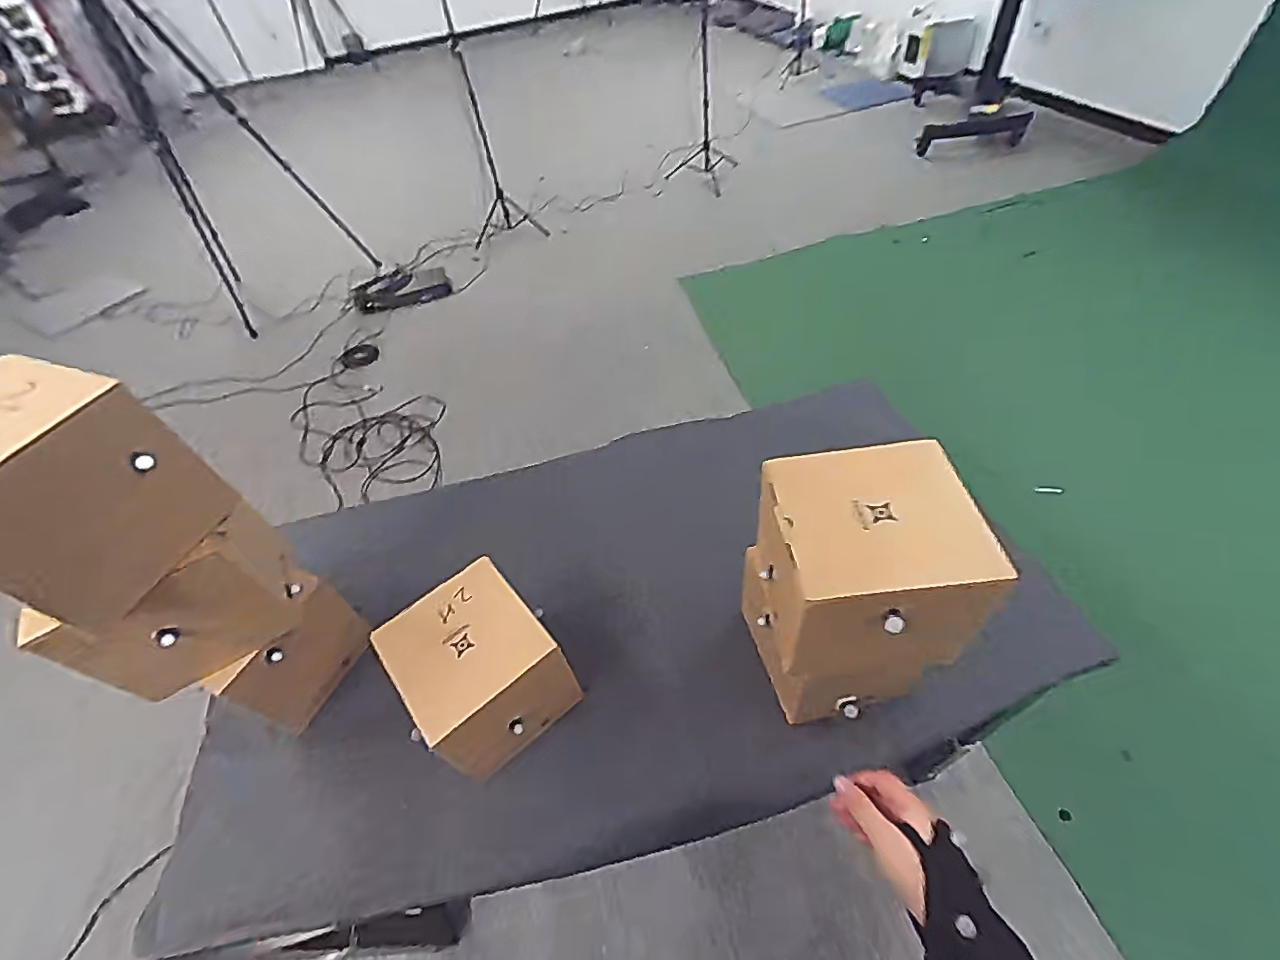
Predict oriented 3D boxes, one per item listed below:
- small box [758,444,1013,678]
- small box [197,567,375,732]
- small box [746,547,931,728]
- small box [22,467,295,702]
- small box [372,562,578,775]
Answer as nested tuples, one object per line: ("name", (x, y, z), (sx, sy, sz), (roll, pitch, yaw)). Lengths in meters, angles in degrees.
("small box", (0.225, 0.087, 0.555), (0.179, 0.176, 0.168), (-8, 48, 3))
("small box", (-0.522, 0.227, 0.761), (0.179, 0.176, 0.168), (16, 54, 20))
("small box", (0.240, 0.183, 0.686), (0.168, 0.176, 0.179), (-15, 49, -4))
("small box", (-0.538, 0.123, 0.633), (0.179, 0.176, 0.168), (-30, 53, -17))
("small box", (-0.201, 0.247, 0.695), (0.168, 0.176, 0.179), (-35, 53, -22))
